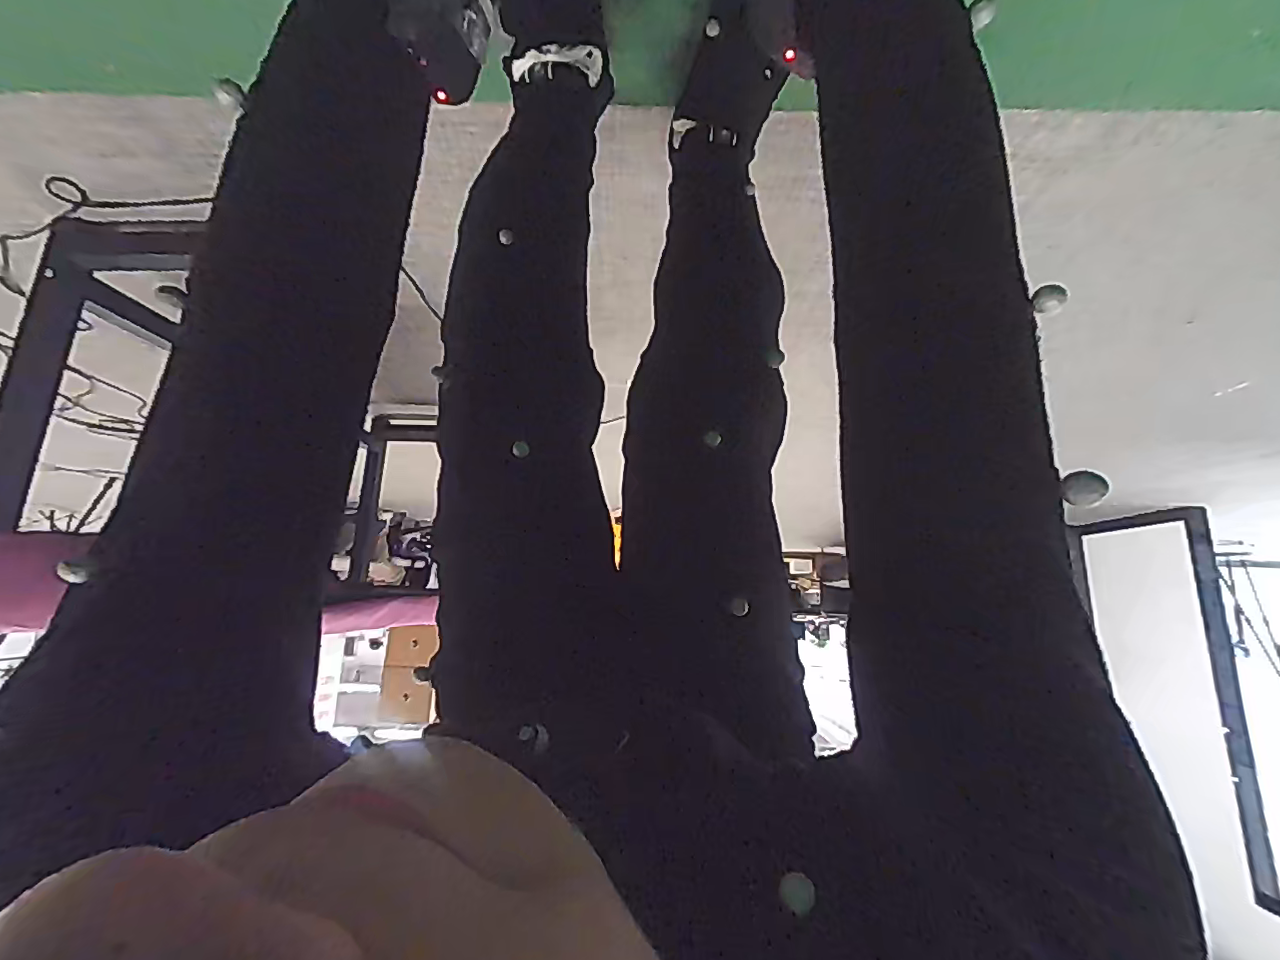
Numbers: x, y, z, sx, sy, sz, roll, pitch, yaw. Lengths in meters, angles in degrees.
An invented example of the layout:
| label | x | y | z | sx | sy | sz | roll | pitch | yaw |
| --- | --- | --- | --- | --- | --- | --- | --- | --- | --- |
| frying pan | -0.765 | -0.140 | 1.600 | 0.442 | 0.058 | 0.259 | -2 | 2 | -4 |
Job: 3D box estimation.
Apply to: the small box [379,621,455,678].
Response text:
| label | x | y | z | sx | sy | sz | roll | pitch | yaw |
| --- | --- | --- | --- | --- | --- | --- | --- | --- | --- |
| small box | -0.723 | 0.552 | 1.772 | 0.179 | 0.176 | 0.168 | 0 | 167 | 3 |
